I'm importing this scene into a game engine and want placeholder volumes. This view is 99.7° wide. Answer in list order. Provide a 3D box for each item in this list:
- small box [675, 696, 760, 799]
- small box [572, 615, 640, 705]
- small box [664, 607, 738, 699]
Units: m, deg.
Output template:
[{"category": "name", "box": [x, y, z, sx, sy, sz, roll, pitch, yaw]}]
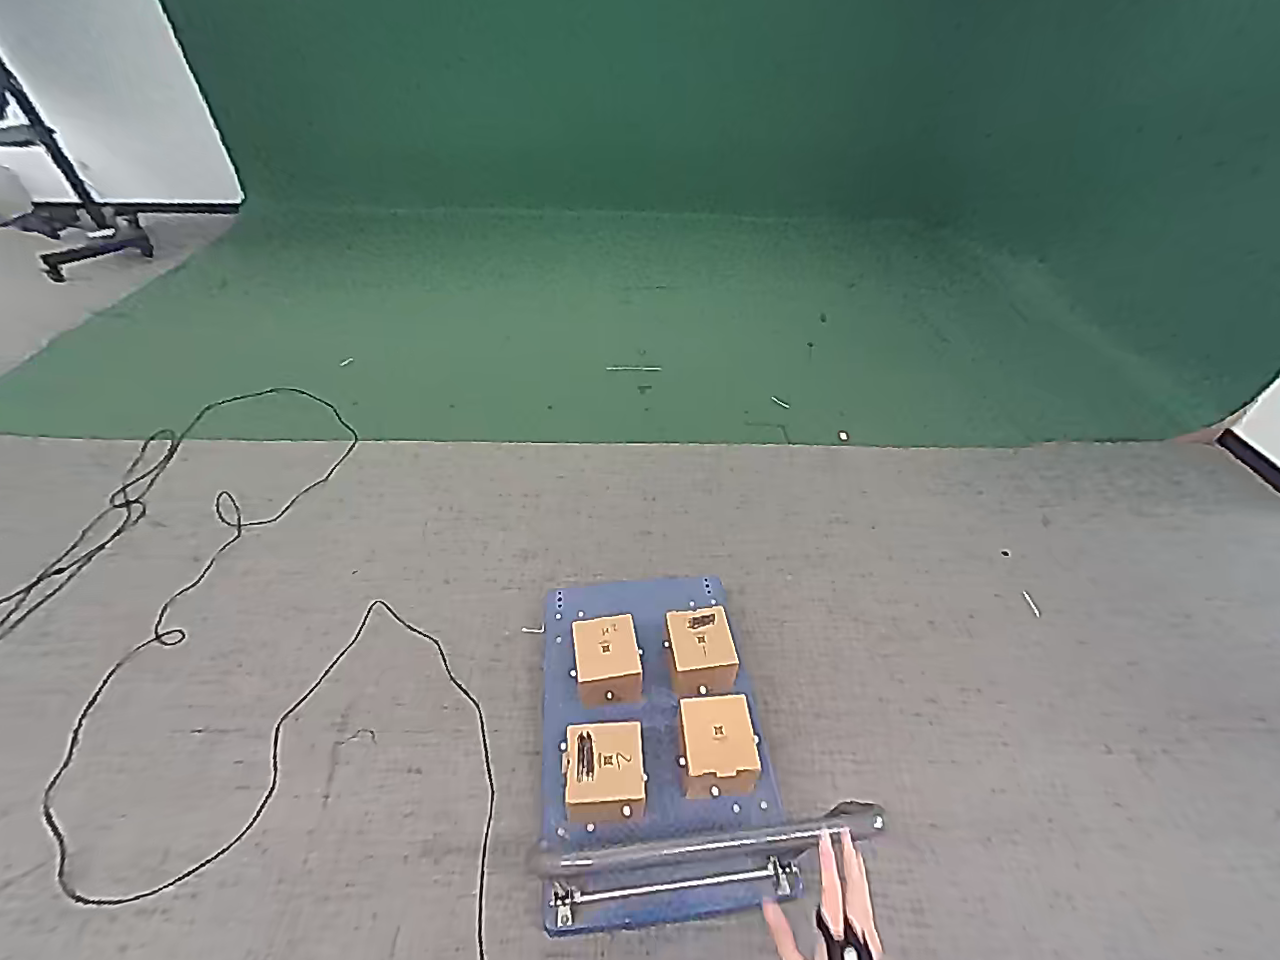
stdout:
[{"category": "small box", "box": [0.181, 0.655, 1.324, 0.168, 0.176, 0.179, -2, 43, -4]}, {"category": "small box", "box": [-0.093, 0.496, 1.474, 0.168, 0.176, 0.179, -6, 45, -8]}, {"category": "small box", "box": [0.161, 0.479, 1.499, 0.168, 0.176, 0.179, -5, 45, -6]}]
